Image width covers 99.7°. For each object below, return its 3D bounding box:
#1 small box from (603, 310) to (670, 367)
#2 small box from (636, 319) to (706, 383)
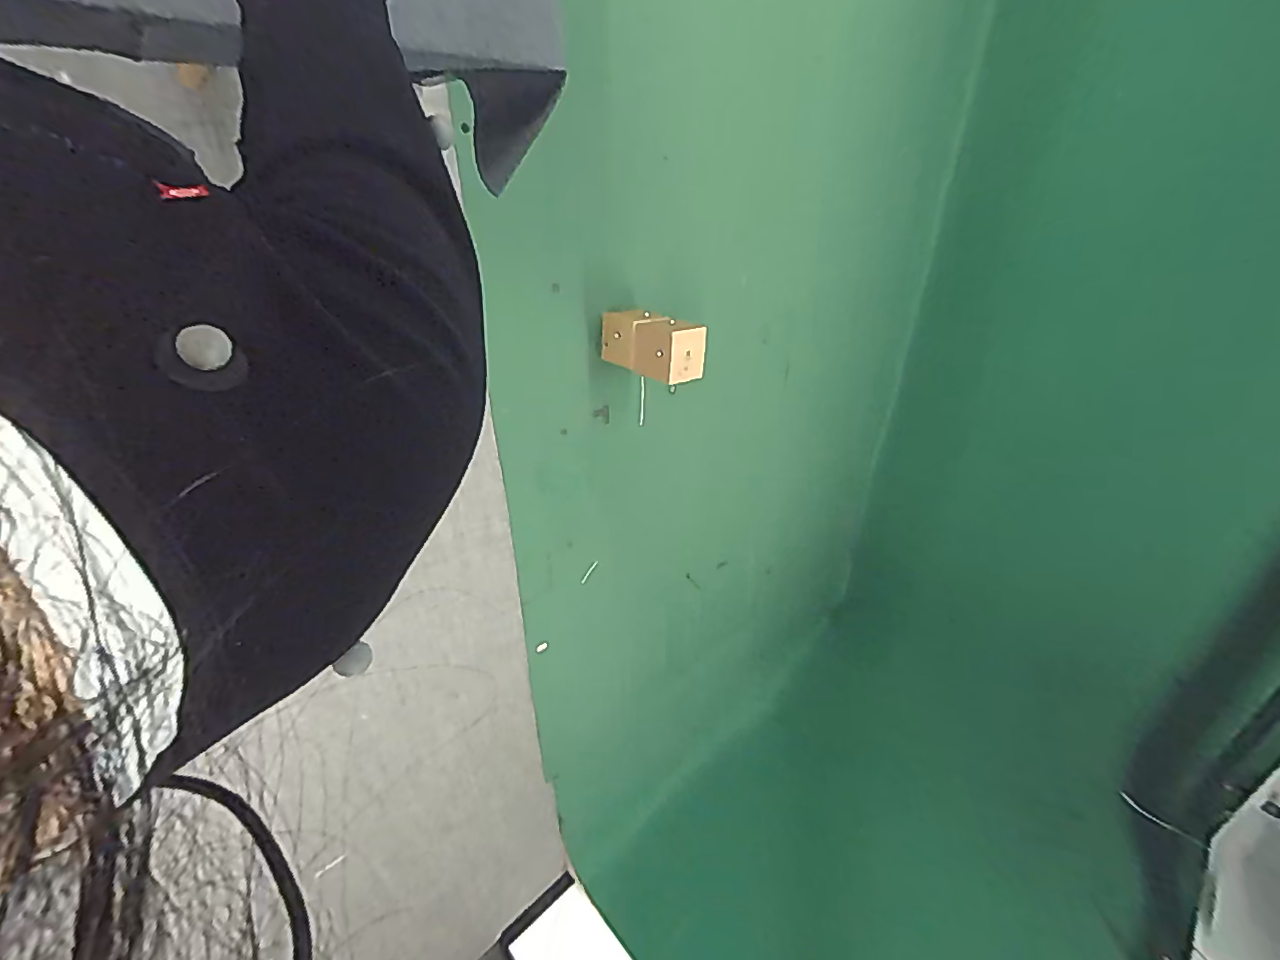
[{"bbox_3d":[-0.018,-0.504,1.915,0.179,0.176,0.168,-20,124,-39],"label":"small box"},{"bbox_3d":[0.101,-0.442,1.819,0.168,0.176,0.179,-20,125,-38],"label":"small box"}]
